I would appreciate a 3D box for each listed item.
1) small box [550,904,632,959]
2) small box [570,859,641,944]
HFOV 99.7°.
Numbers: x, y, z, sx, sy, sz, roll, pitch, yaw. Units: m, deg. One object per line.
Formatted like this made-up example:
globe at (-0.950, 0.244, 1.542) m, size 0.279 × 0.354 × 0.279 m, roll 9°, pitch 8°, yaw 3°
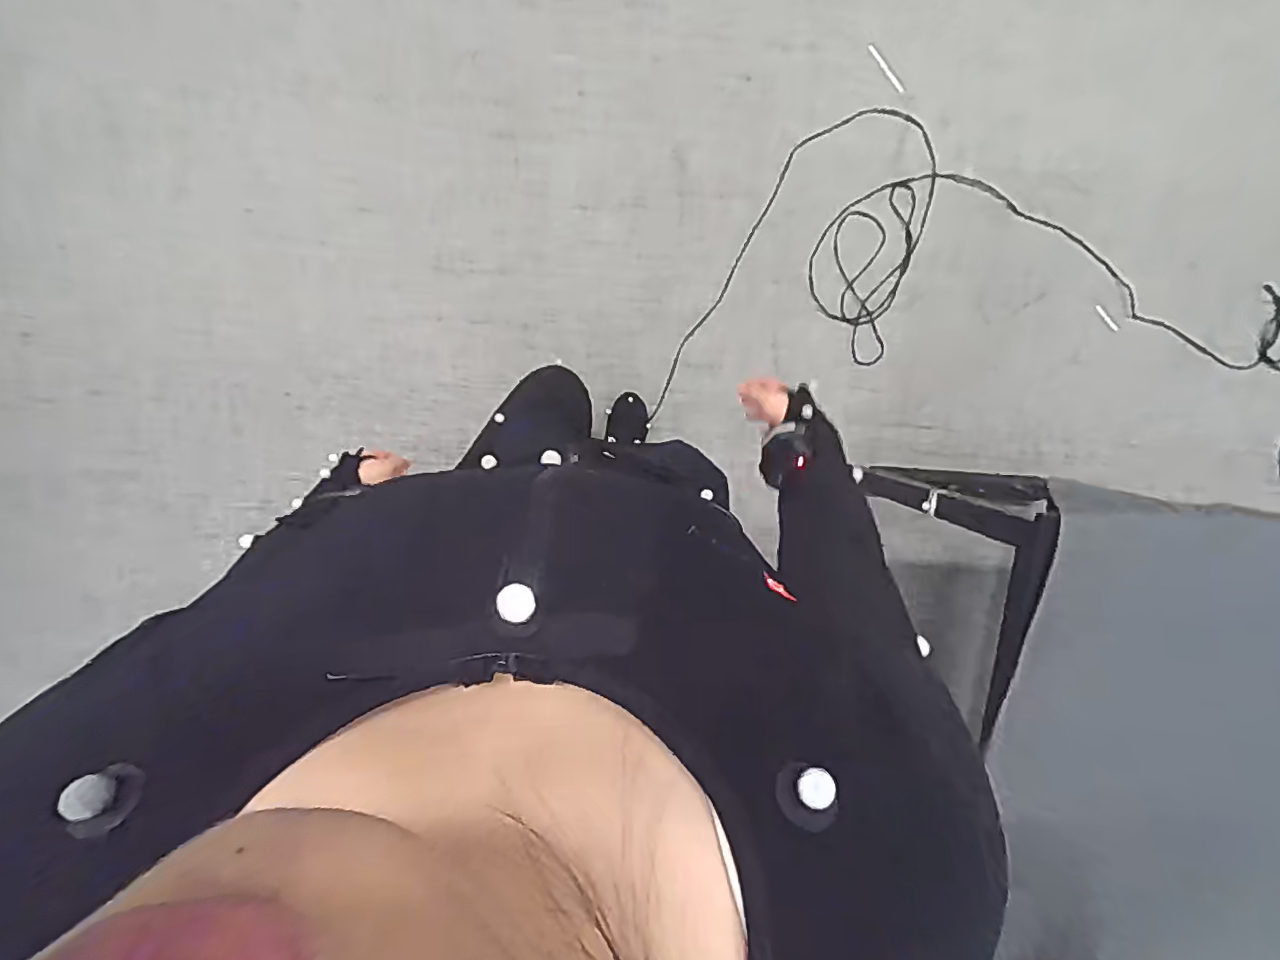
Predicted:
small box at (-0.133, 1.284, 1.426) m, size 0.168 × 0.176 × 0.179 m, roll 42°, pitch 96°, yaw -6°
small box at (-0.108, 1.268, 1.589) m, size 0.168 × 0.176 × 0.179 m, roll 21°, pitch 97°, yaw -5°
